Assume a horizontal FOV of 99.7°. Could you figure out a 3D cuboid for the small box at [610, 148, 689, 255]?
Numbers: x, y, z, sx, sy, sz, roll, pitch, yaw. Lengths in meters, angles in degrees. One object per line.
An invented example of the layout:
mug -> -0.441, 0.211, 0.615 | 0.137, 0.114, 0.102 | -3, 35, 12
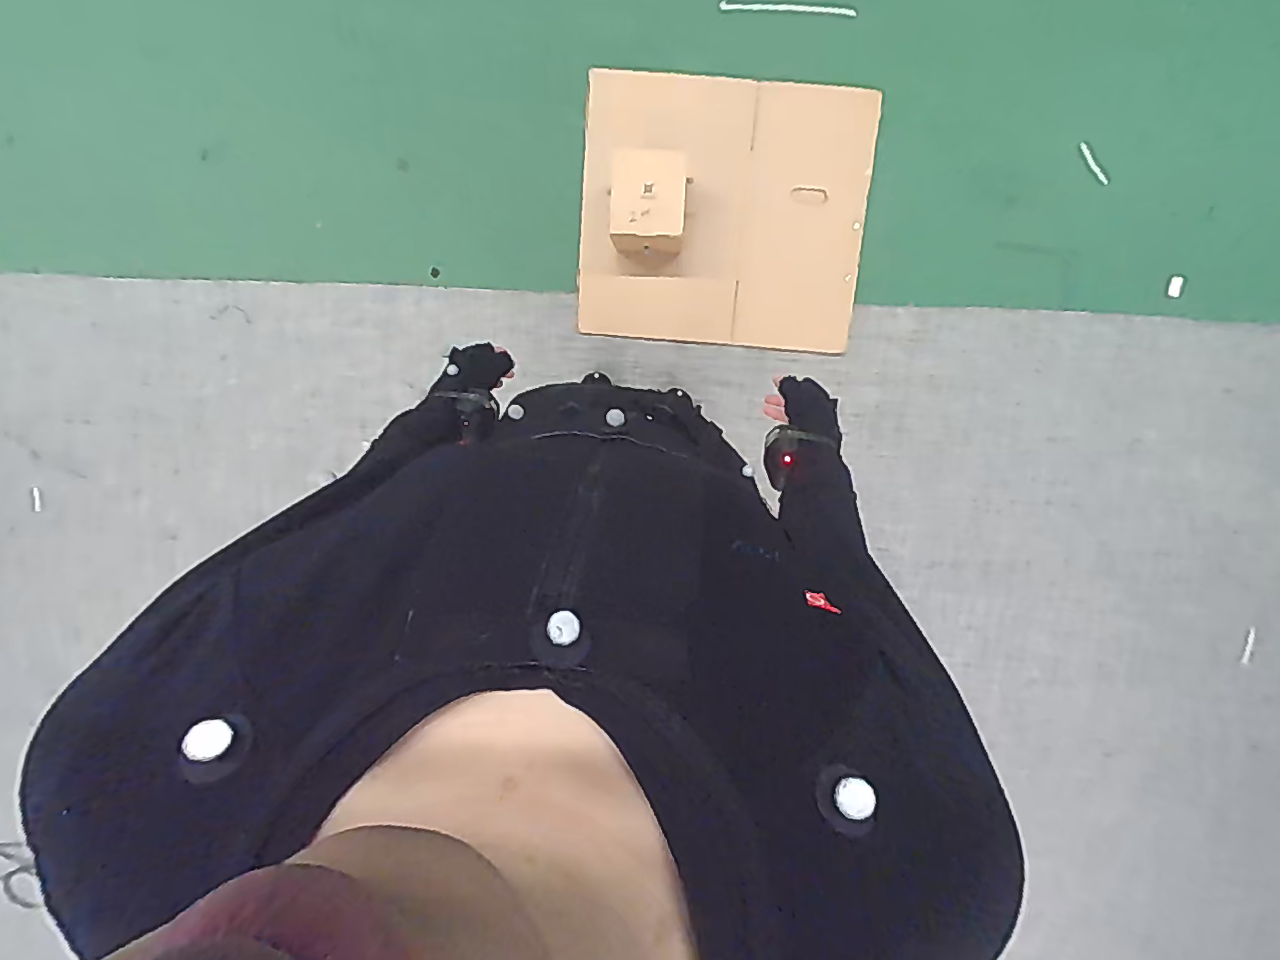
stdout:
small box -> 0.022, -0.636, 1.249 | 0.168, 0.176, 0.179 | 4, 101, 2
